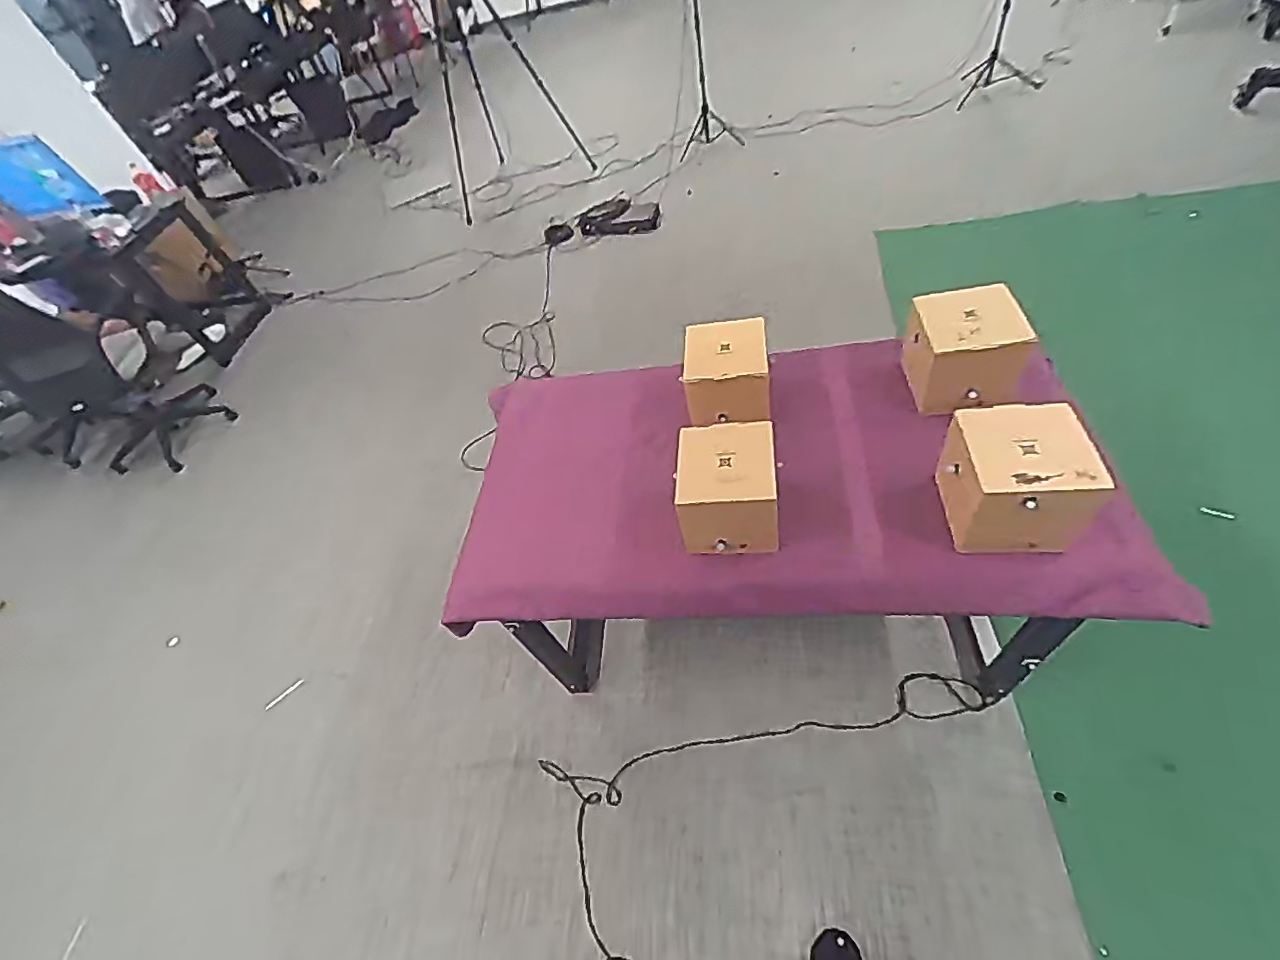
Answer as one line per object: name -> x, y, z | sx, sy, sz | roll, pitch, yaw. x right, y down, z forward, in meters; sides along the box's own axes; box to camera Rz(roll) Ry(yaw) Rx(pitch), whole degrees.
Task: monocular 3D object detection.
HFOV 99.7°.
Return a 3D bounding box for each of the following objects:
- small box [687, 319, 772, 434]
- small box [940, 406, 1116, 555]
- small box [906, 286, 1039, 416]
small box -> 0.194, -0.219, 1.160 | 0.168, 0.176, 0.179 | -3, 53, 11
small box -> 0.606, 0.003, 0.875 | 0.168, 0.176, 0.179 | -3, 50, 14
small box -> 0.639, -0.251, 1.066 | 0.168, 0.176, 0.179 | -6, 52, 14
